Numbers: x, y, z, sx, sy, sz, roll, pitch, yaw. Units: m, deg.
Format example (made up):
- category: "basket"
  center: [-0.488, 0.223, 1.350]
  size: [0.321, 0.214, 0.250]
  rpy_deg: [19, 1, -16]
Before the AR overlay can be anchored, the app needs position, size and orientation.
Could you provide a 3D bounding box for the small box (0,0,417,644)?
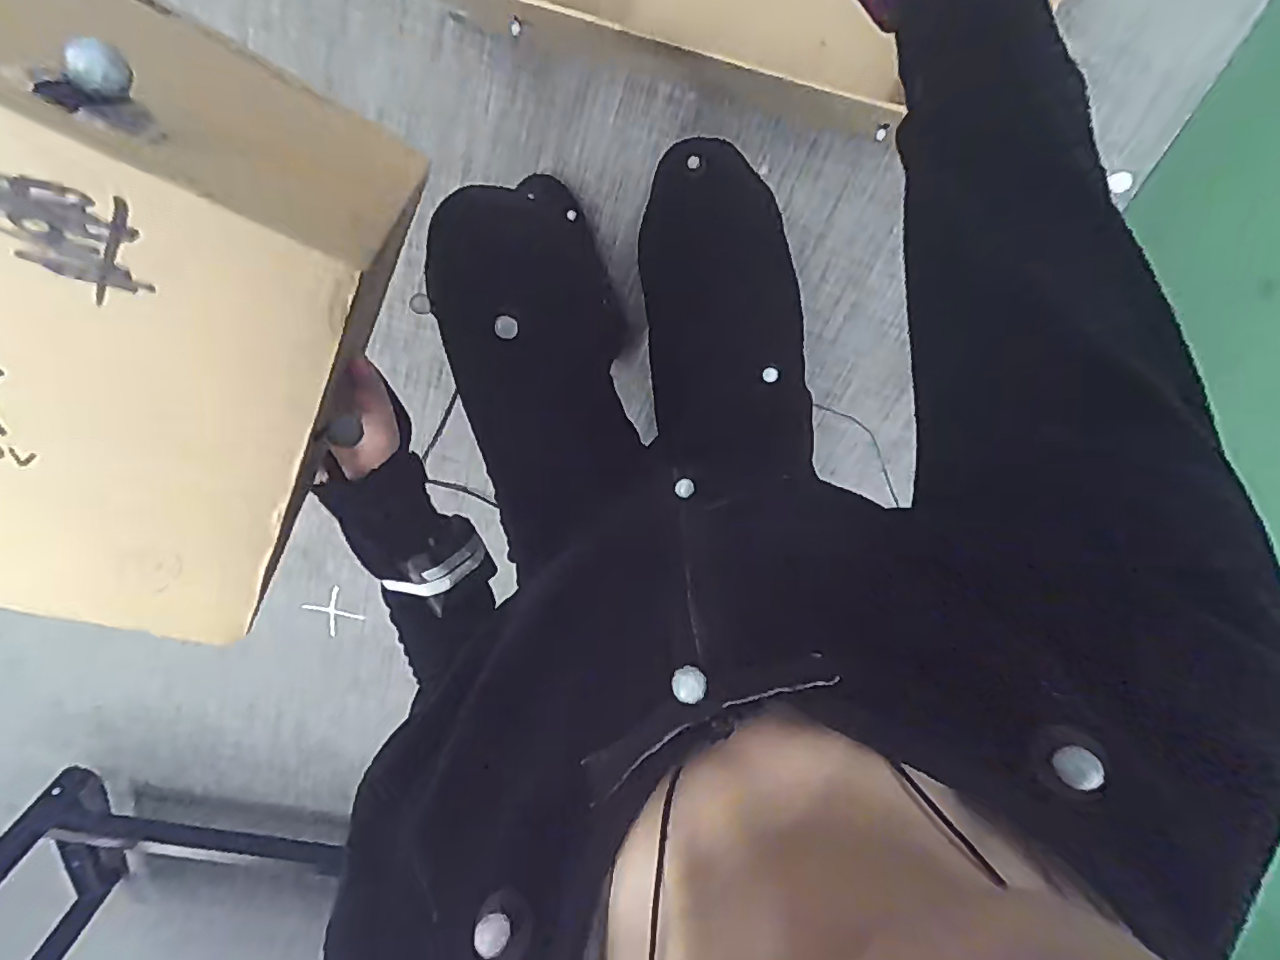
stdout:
- category: "small box"
  center: [-0.195, -0.073, 0.196]
  size: [0.168, 0.176, 0.179]
  rpy_deg: [21, 122, -29]
